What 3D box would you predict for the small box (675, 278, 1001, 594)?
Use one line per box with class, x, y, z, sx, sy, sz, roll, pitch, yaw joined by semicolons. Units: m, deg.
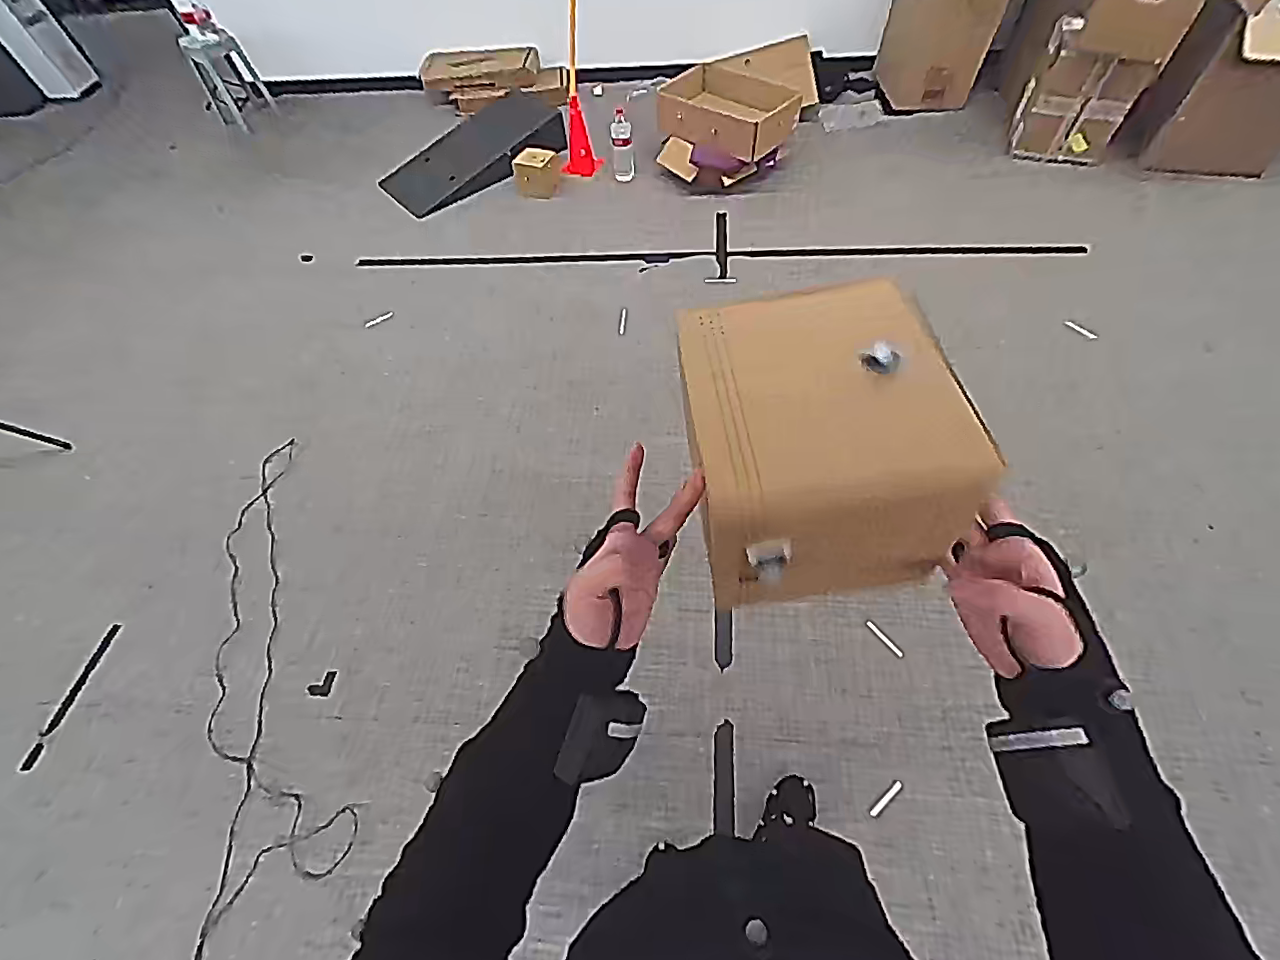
small box;0.123;-0.019;0.414;0.176;0.168;0.179;-9;71;6
